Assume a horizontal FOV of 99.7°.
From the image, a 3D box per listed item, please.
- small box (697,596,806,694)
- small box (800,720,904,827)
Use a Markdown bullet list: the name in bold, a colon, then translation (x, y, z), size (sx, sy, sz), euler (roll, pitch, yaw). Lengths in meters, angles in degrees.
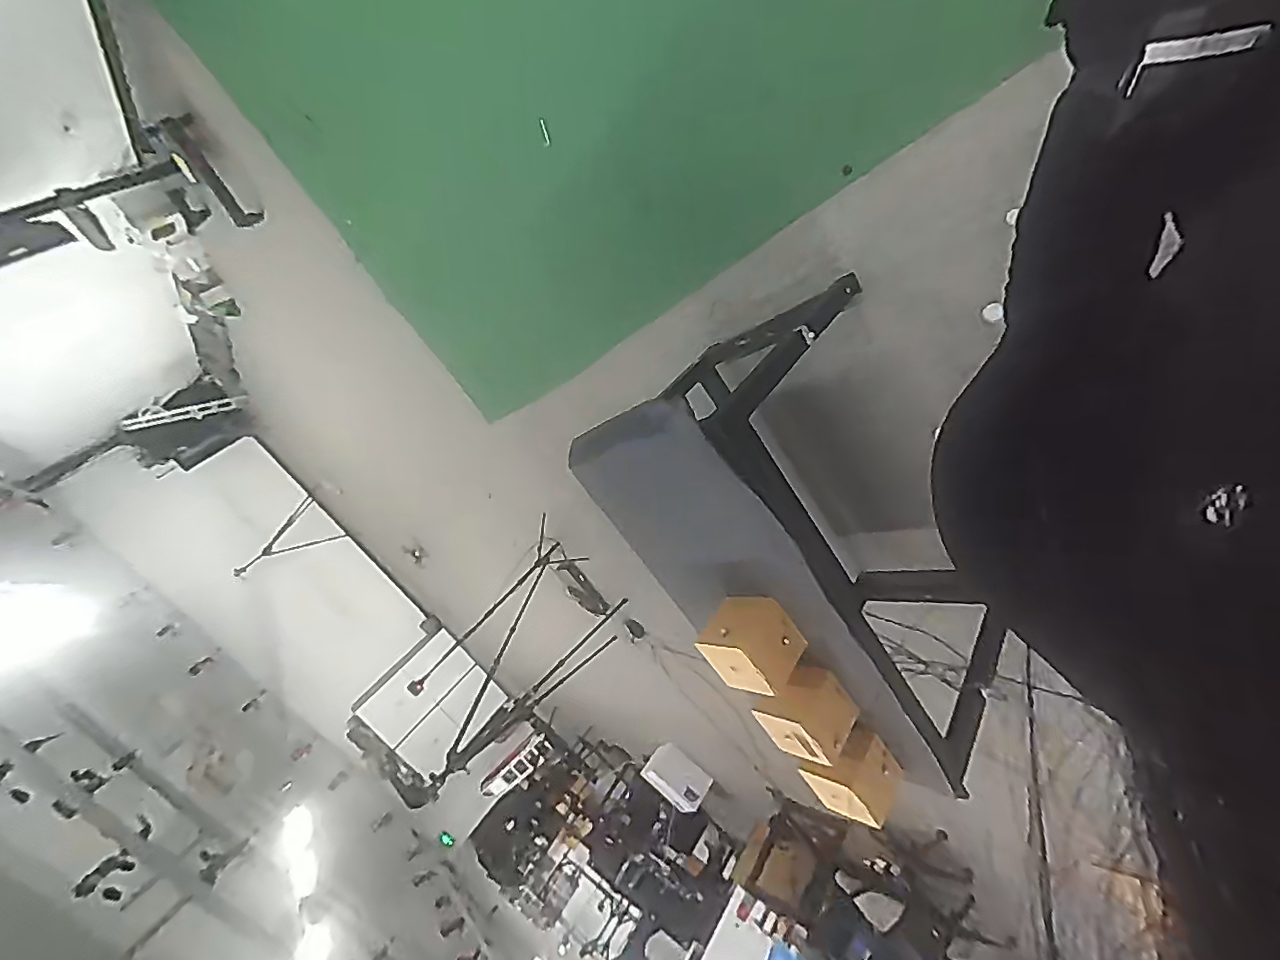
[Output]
- **small box**: translation (0.285, 0.409, 1.369), size (0.168, 0.176, 0.179), euler (53, 146, -14)
- **small box**: translation (0.578, 0.786, 1.469), size (0.168, 0.176, 0.179), euler (53, 148, -13)
